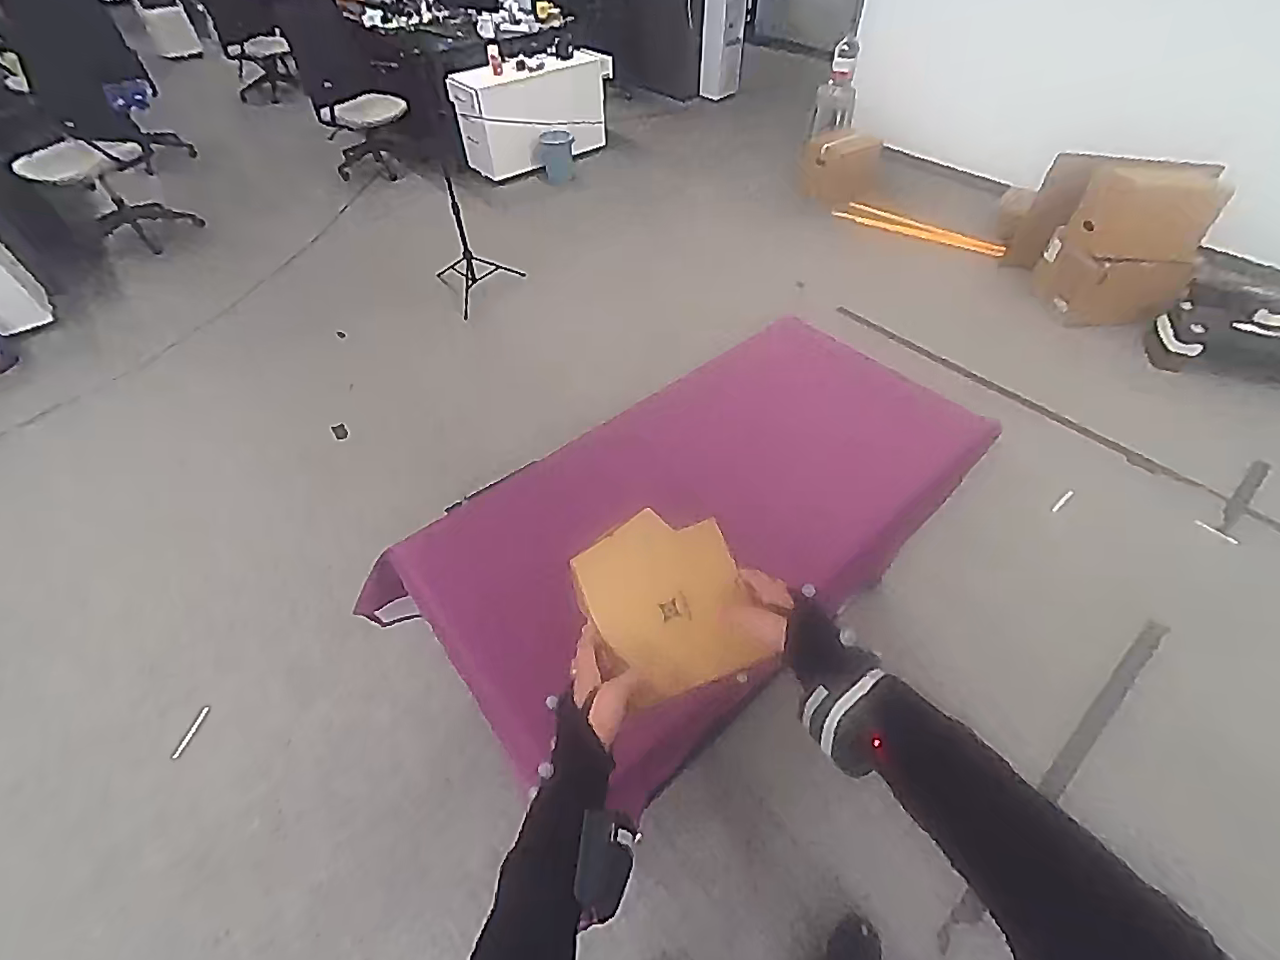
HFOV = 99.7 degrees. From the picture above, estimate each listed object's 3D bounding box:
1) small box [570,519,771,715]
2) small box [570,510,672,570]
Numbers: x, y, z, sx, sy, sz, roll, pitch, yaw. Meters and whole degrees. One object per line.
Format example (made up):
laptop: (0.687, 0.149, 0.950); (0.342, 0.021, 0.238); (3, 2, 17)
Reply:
small box: (0.029, 0.174, 0.656); (0.179, 0.176, 0.168); (-20, 69, -11)
small box: (0.007, 0.189, 0.888); (0.168, 0.176, 0.179); (-34, 57, -22)
